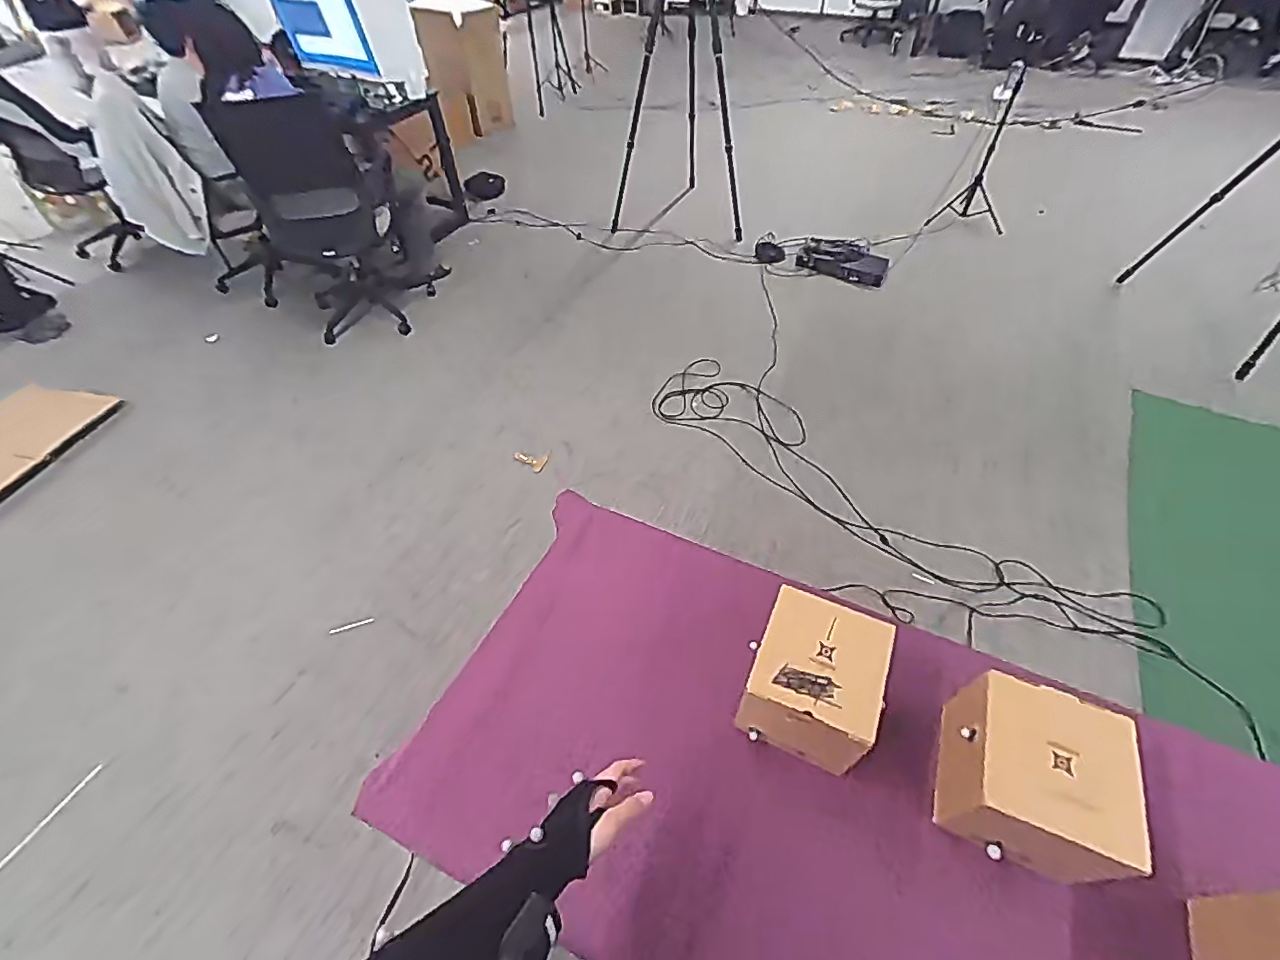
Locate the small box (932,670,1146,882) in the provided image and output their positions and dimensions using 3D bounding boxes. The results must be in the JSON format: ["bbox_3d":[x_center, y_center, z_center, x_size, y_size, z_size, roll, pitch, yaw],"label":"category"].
[{"bbox_3d":[0.506,0.389,0.710,0.168,0.176,0.179,18,54,18],"label":"small box"}]

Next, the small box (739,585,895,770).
[{"bbox_3d":[0.252,0.293,0.797,0.168,0.176,0.179,20,53,17],"label":"small box"}]
